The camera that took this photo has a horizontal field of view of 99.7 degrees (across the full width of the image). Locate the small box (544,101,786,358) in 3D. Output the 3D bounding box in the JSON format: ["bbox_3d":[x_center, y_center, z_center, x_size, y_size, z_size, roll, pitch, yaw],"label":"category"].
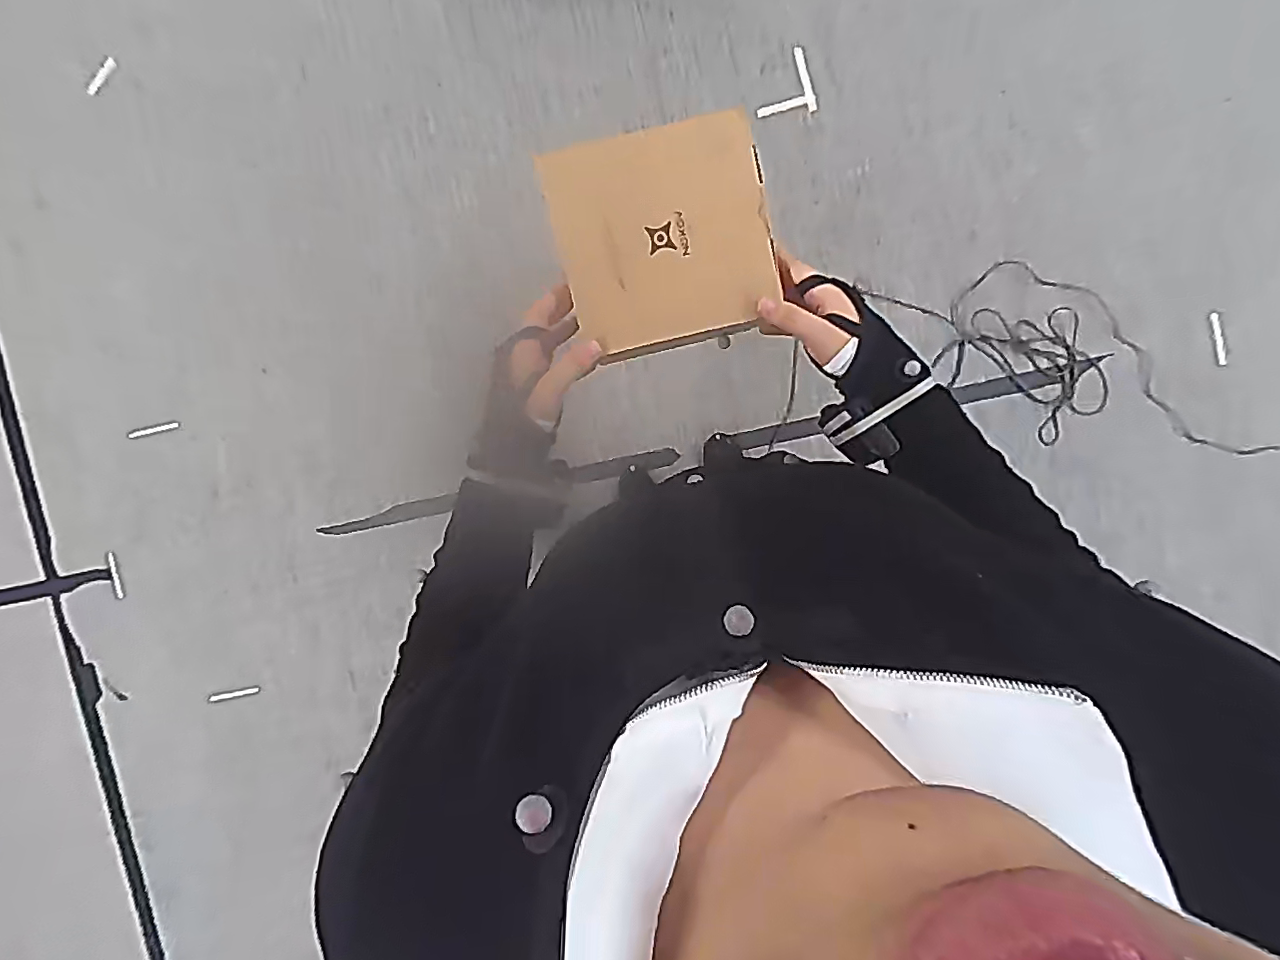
[{"bbox_3d":[0.023,-0.222,0.528,0.179,0.176,0.168,-14,99,3],"label":"small box"}]
